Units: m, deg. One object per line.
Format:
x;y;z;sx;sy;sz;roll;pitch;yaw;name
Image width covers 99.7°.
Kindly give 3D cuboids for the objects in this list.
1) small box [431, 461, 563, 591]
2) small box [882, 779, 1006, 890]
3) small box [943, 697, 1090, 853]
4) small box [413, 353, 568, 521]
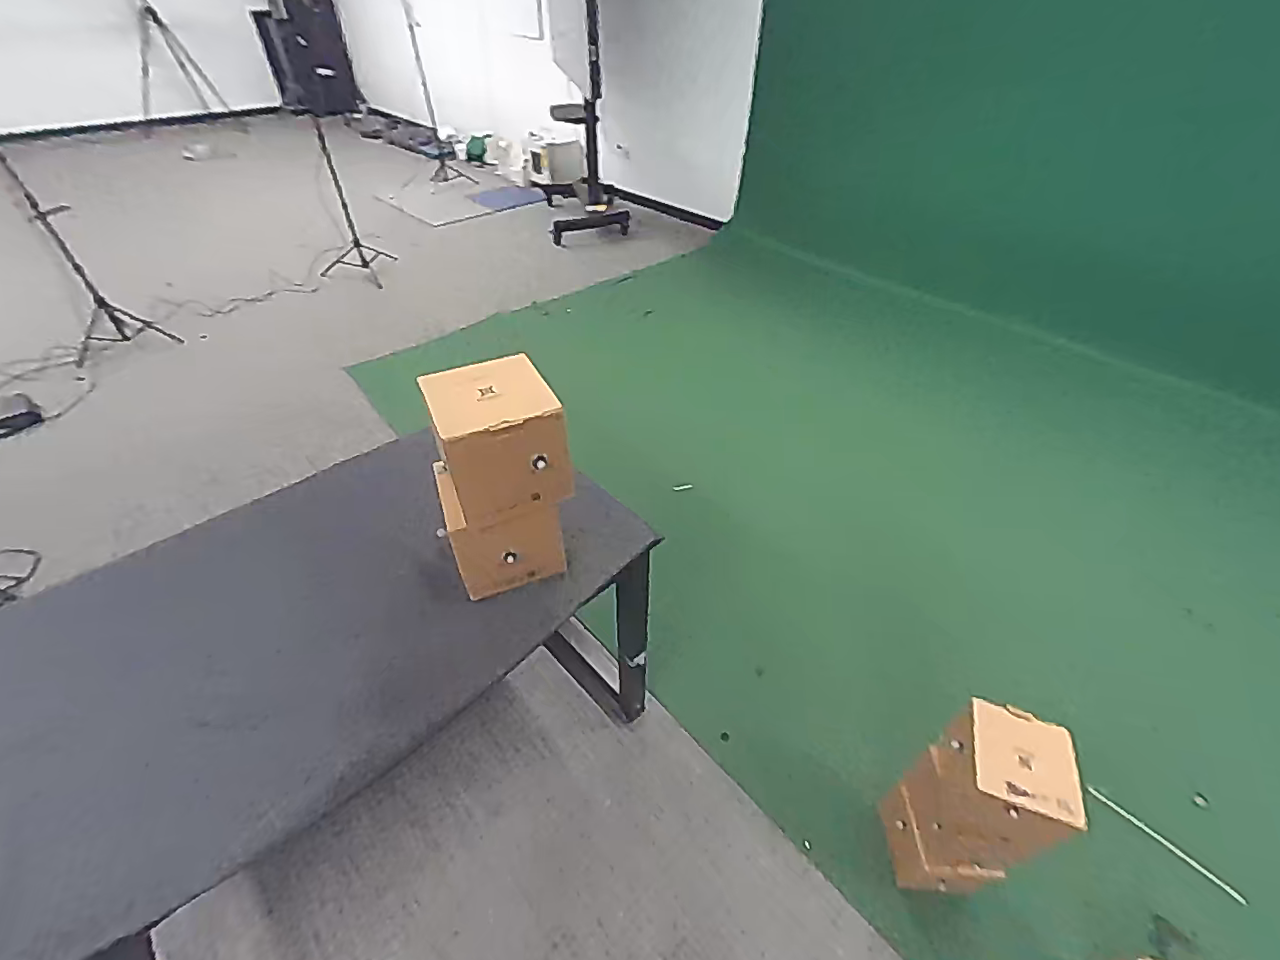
-0.235;0.063;0.903;0.168;0.176;0.179;-16;43;-17;small box
0.667;0.796;1.210;0.168;0.176;0.179;2;43;2;small box
0.677;0.543;0.999;0.168;0.176;0.179;16;45;16;small box
-0.215;-0.060;0.797;0.168;0.176;0.179;-19;44;-21;small box
